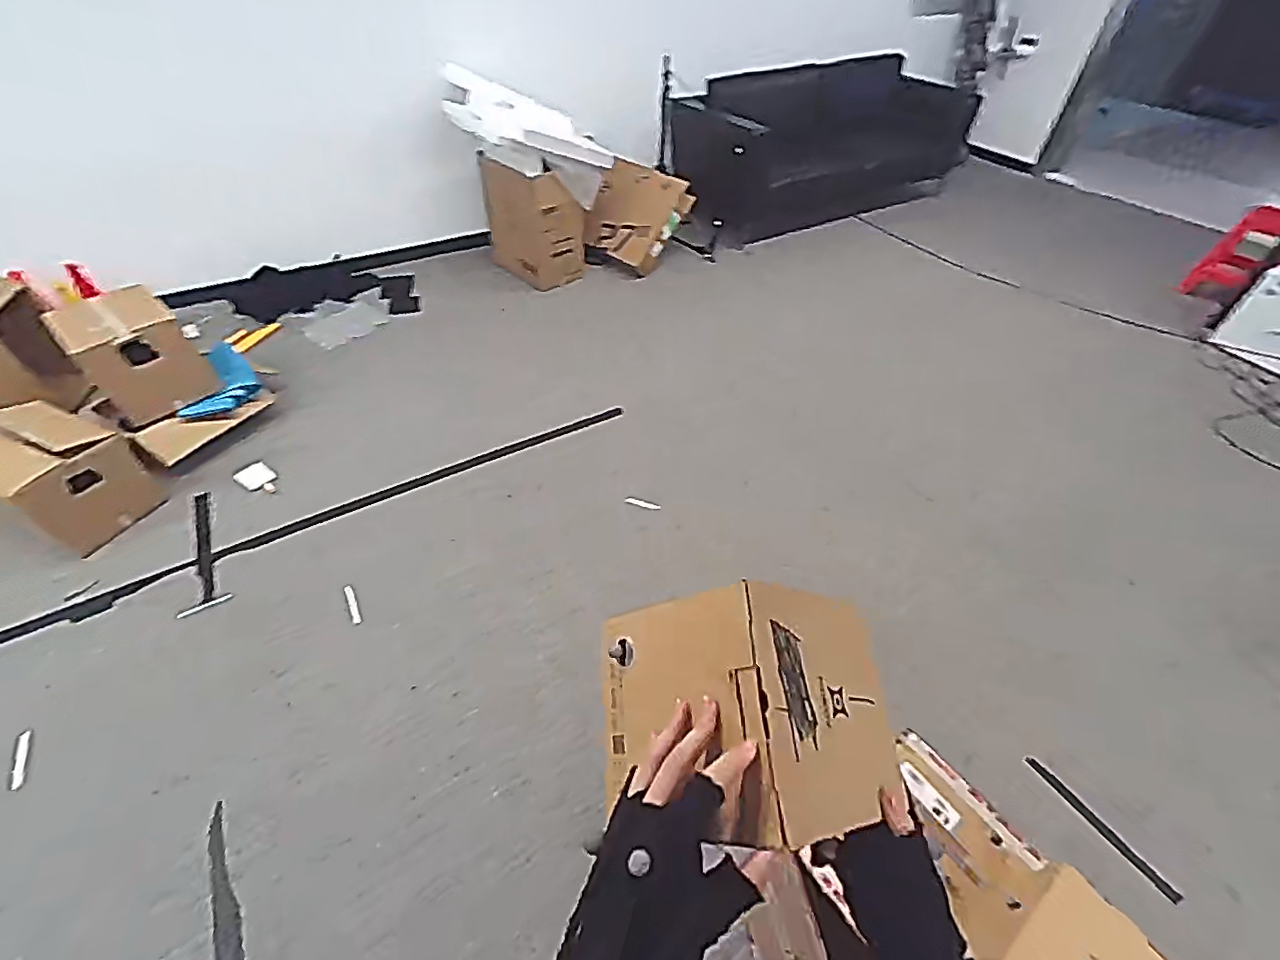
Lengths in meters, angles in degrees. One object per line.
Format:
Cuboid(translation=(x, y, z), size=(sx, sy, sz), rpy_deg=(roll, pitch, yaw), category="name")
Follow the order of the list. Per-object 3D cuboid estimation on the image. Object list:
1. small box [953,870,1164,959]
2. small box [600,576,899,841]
Cuboid(translation=(0.551, 0.659, 0.704), size=(0.179, 0.176, 0.168), rpy_deg=(-25, 53, -26), category="small box")
Cuboid(translation=(0.078, 0.190, 0.453), size=(0.179, 0.176, 0.168), rpy_deg=(18, 57, -39), category="small box")
